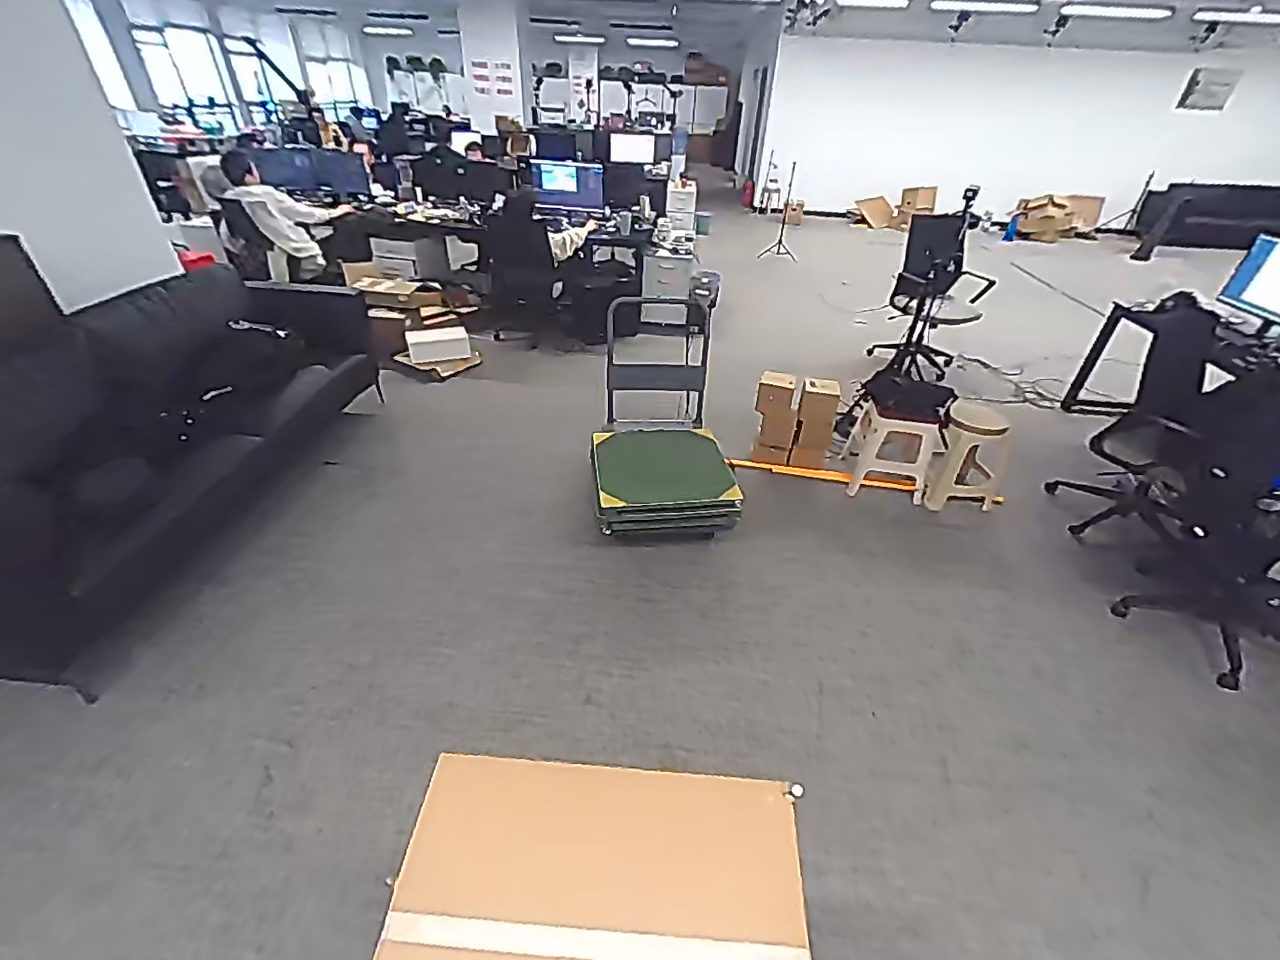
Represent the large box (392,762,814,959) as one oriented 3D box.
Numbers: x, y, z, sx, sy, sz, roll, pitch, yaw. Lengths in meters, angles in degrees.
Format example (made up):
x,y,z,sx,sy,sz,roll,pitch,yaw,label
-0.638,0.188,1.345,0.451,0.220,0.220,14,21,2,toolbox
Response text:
x,y,z,sx,sy,sz,roll,pitch,yaw,label
-0.038,0.550,0.616,0.408,0.320,0.320,4,44,1,large box
